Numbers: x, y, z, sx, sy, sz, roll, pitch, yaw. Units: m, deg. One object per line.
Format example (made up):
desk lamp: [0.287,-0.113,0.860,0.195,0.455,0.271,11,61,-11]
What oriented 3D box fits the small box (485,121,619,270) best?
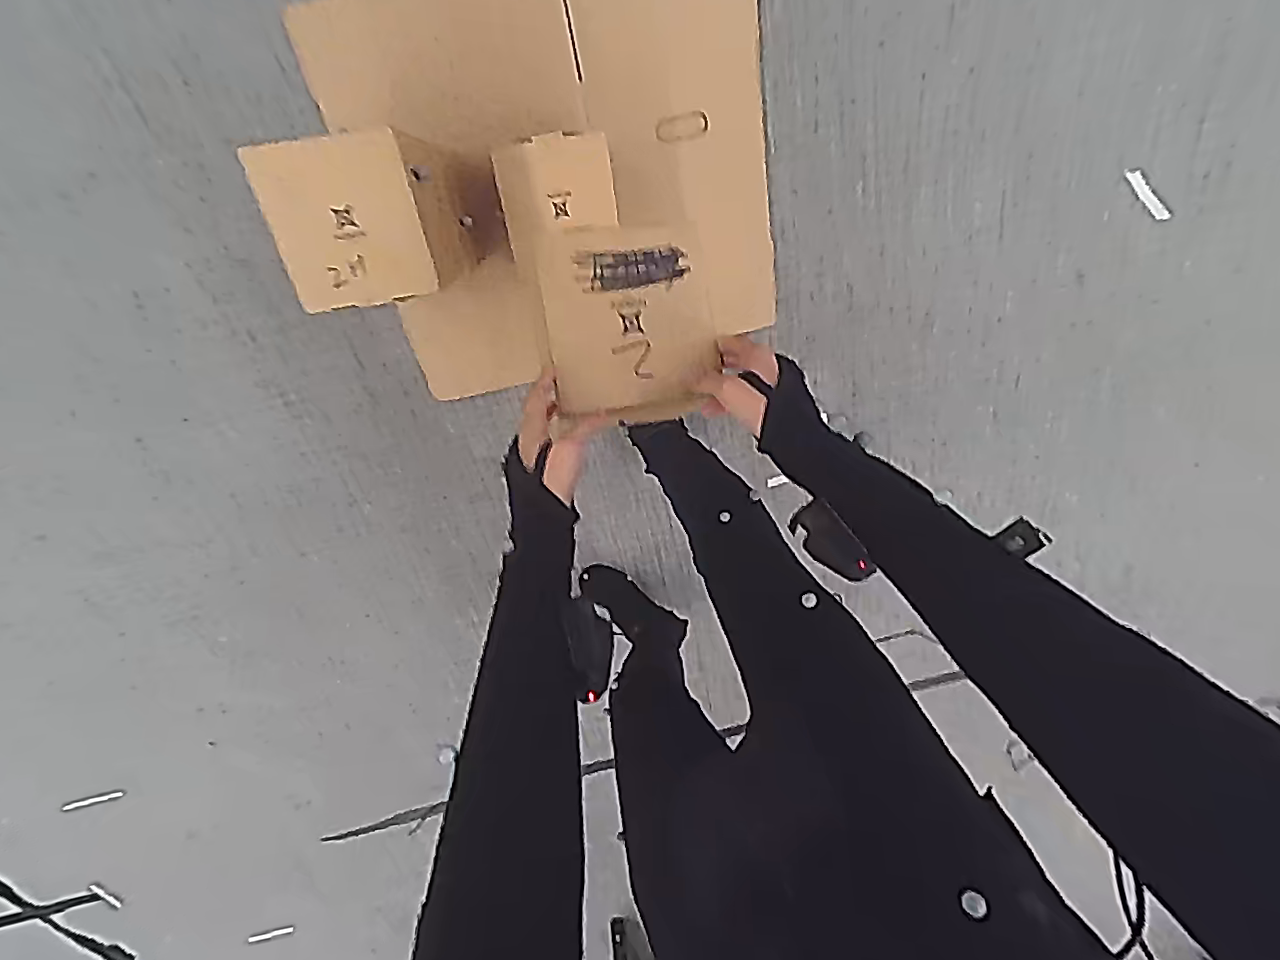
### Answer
small box: [-0.134,-0.437,0.841,0.168,0.176,0.179,-11,119,-4]

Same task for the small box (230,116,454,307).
small box: [-0.347,-0.329,0.672,0.168,0.176,0.179,-10,119,-3]

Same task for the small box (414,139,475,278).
small box: [-0.361,-0.402,0.821,0.168,0.176,0.179,-11,120,-3]
